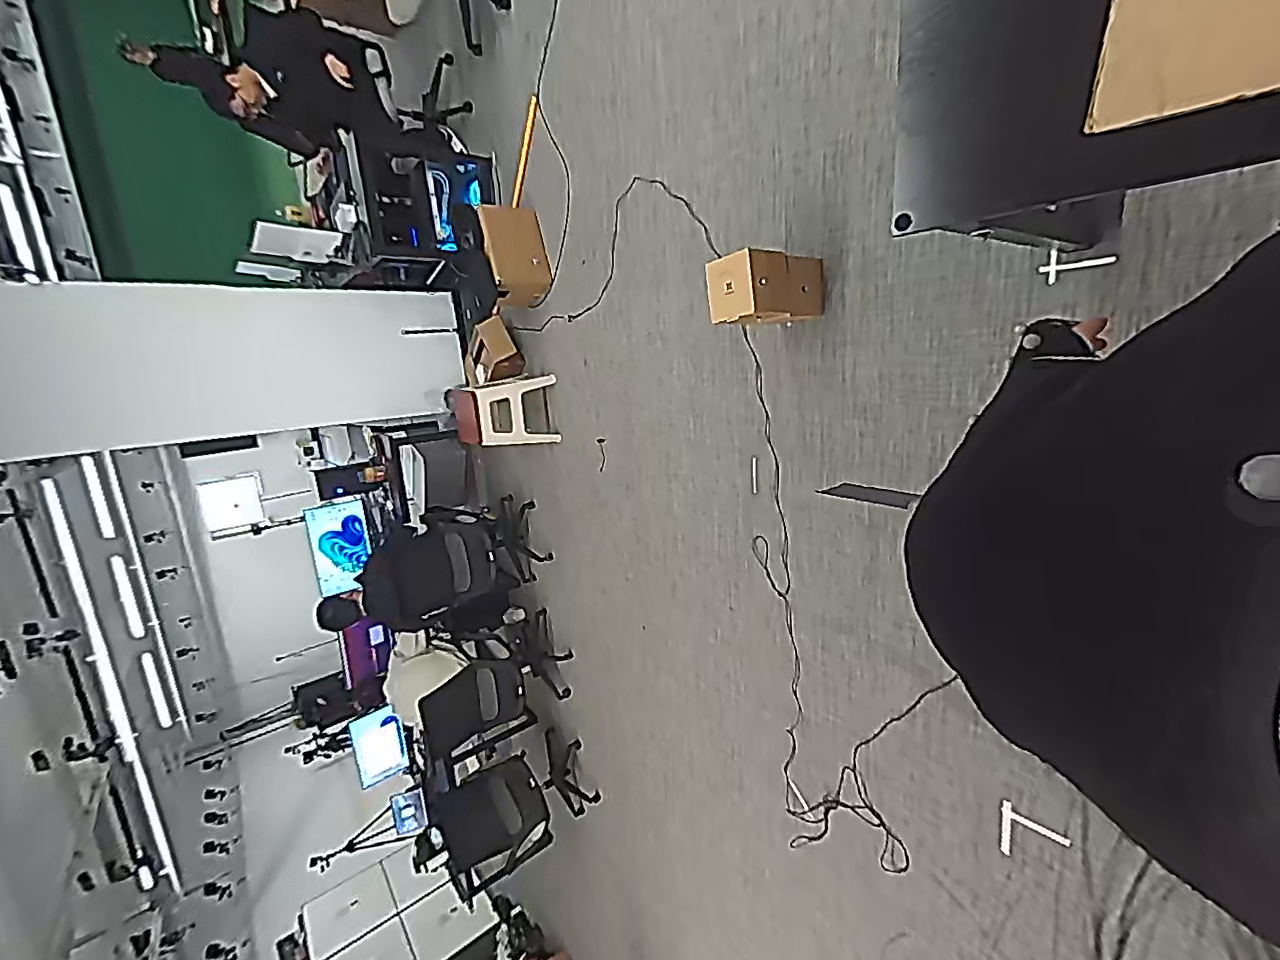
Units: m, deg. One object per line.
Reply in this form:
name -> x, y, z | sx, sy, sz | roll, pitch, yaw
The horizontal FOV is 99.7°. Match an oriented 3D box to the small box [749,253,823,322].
small box -> 0.449, -0.587, 1.670 | 0.168, 0.176, 0.179 | 7, 107, 52

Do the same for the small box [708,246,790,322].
small box -> 0.321, -0.563, 1.572 | 0.168, 0.176, 0.179 | 3, 102, 52
